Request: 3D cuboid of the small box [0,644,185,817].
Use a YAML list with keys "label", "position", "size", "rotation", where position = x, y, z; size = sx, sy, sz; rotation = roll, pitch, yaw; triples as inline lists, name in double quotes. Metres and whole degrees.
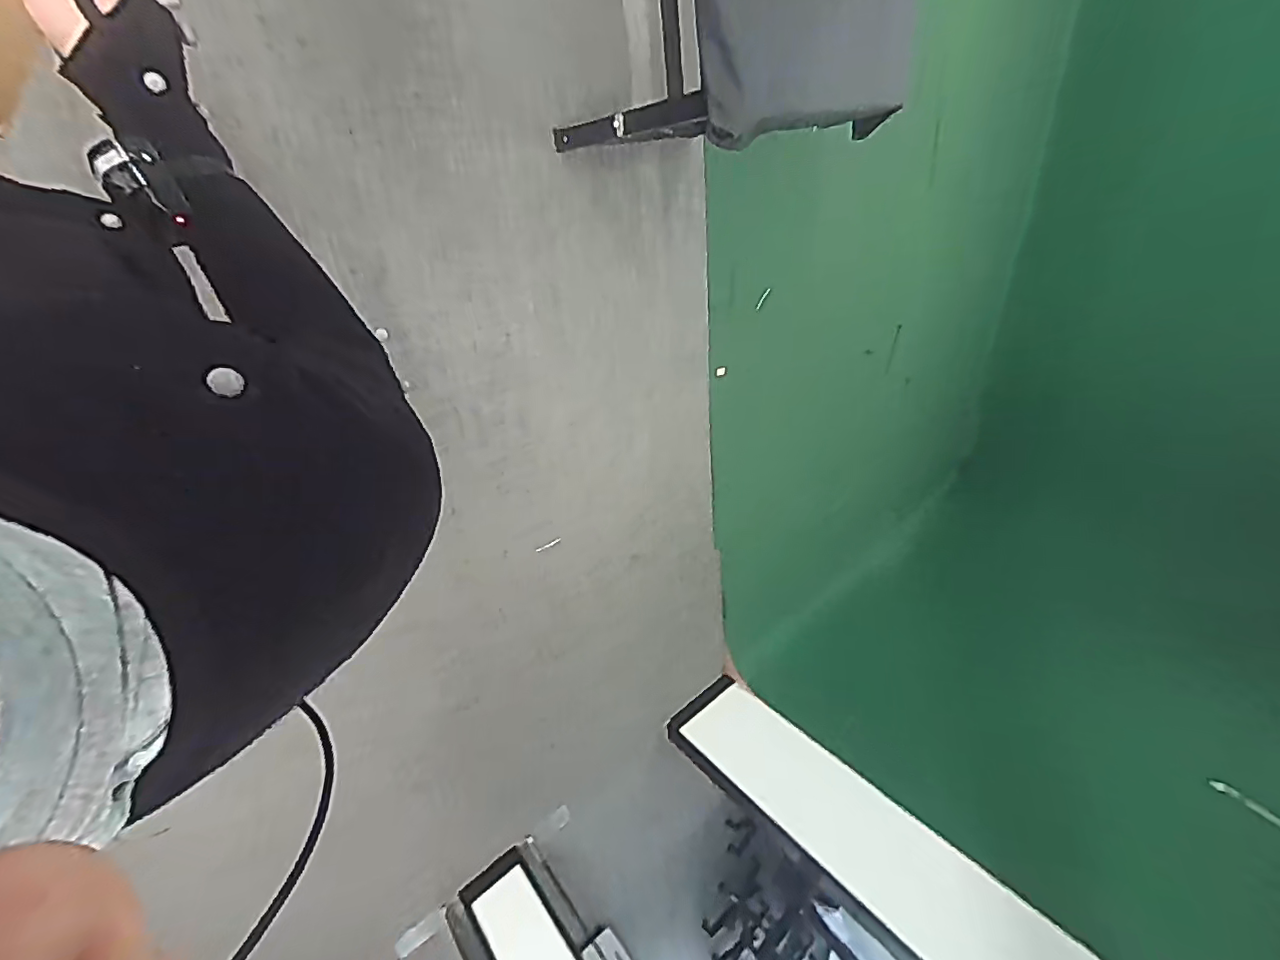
- label: "small box"
  position: [-0.956, 0.430, 0.953]
  size: [0.179, 0.176, 0.168]
  rotation: [-33, 128, -33]
